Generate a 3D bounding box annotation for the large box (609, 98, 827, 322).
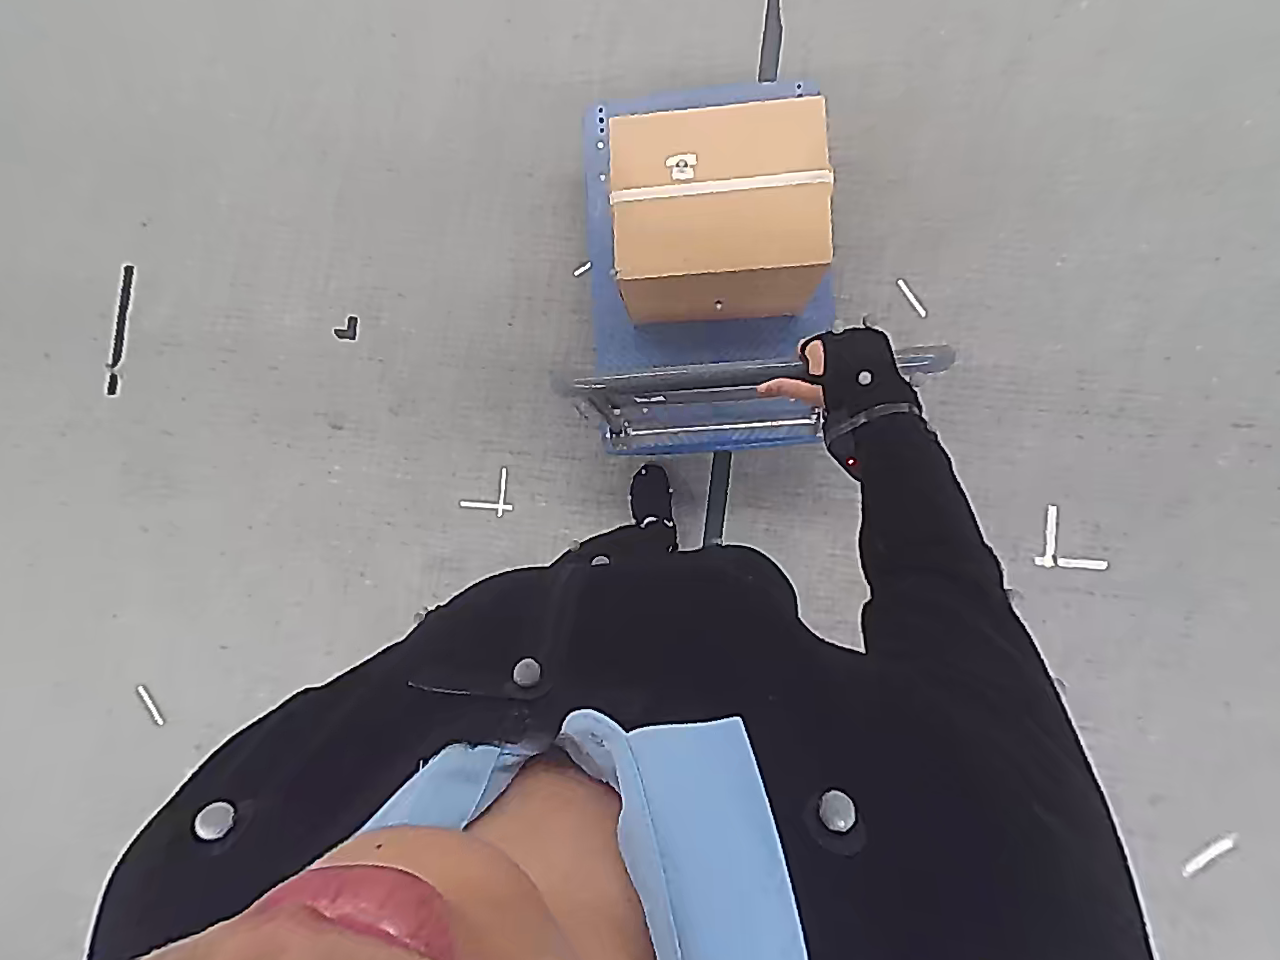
[{"bbox_3d":[0.162,-0.552,1.180,0.408,0.320,0.320,-3,89,6],"label":"large box"}]
